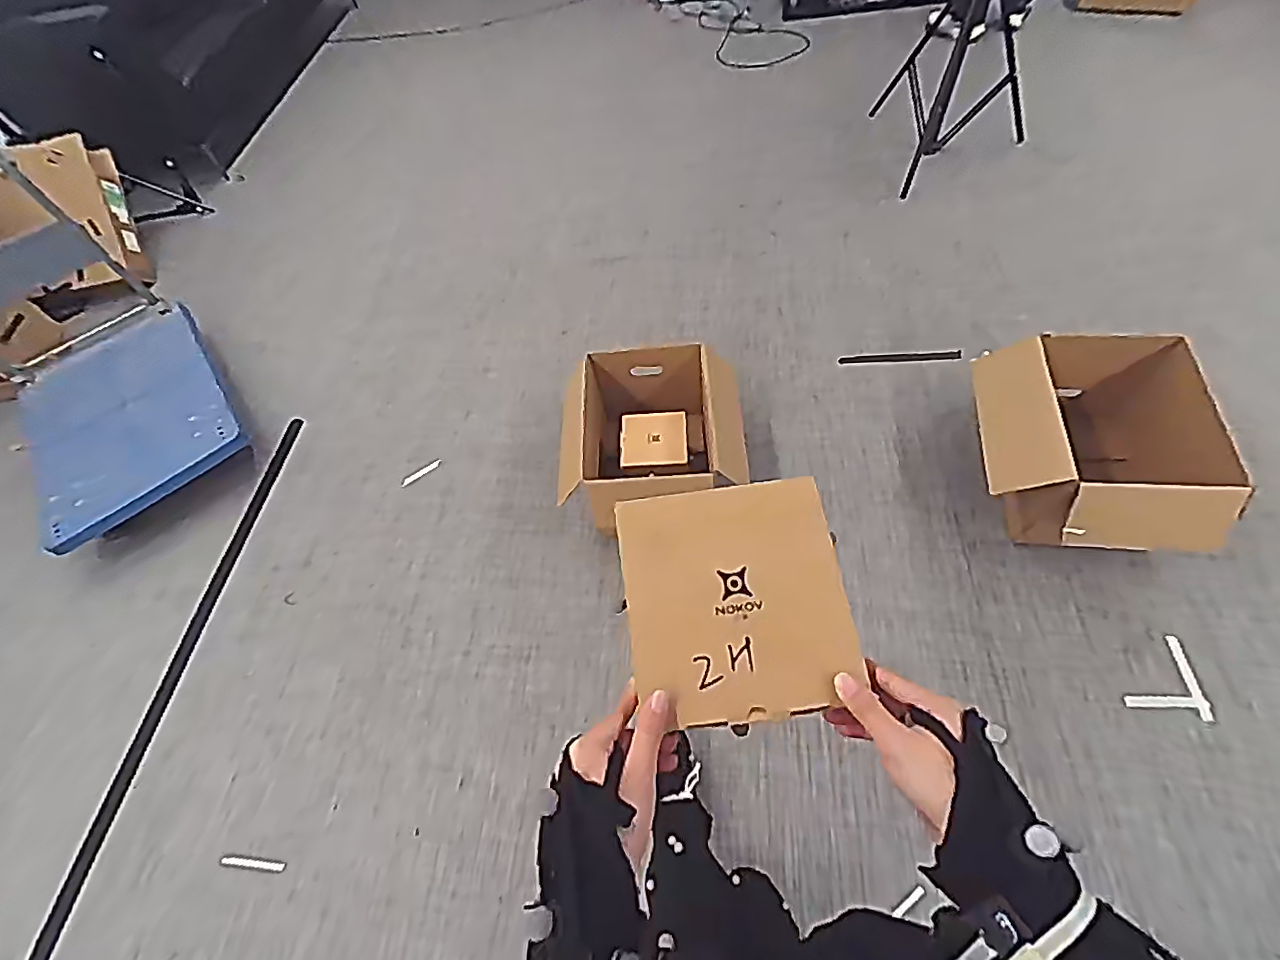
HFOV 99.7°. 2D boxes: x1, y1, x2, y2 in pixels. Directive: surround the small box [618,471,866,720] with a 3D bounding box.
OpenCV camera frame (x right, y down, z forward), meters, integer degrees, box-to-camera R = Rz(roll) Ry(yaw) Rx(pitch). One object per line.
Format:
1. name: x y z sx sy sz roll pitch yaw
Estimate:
1. small box: 0.073 0.111 0.486 0.168 0.176 0.179 -8 68 0
